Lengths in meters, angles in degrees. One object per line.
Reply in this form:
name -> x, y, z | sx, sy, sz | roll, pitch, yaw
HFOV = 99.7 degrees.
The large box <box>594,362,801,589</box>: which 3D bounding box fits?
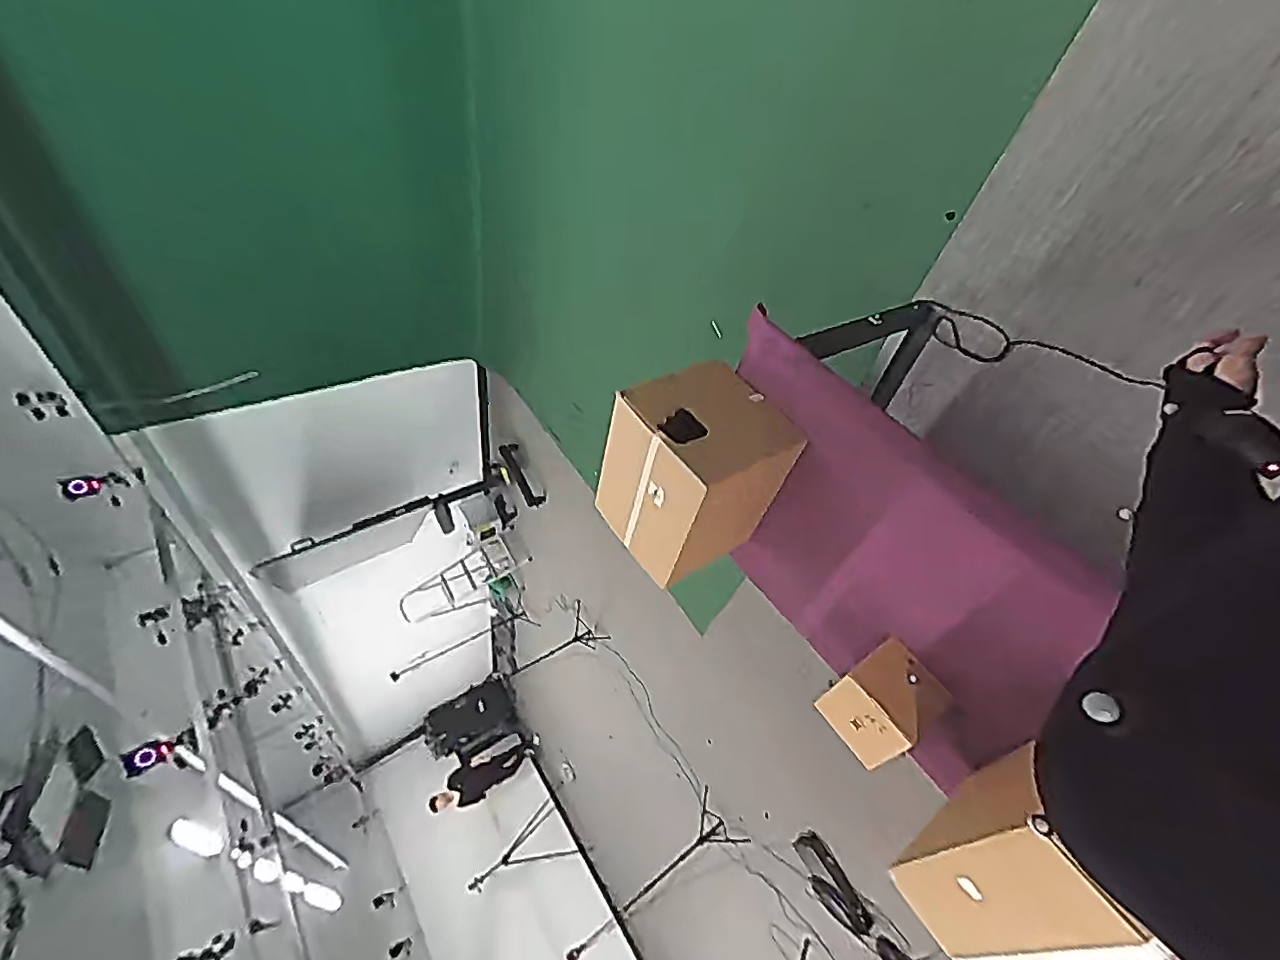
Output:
large box -> 0.119, -0.014, 1.321 | 0.320, 0.320, 0.408 | 48, 144, 26
